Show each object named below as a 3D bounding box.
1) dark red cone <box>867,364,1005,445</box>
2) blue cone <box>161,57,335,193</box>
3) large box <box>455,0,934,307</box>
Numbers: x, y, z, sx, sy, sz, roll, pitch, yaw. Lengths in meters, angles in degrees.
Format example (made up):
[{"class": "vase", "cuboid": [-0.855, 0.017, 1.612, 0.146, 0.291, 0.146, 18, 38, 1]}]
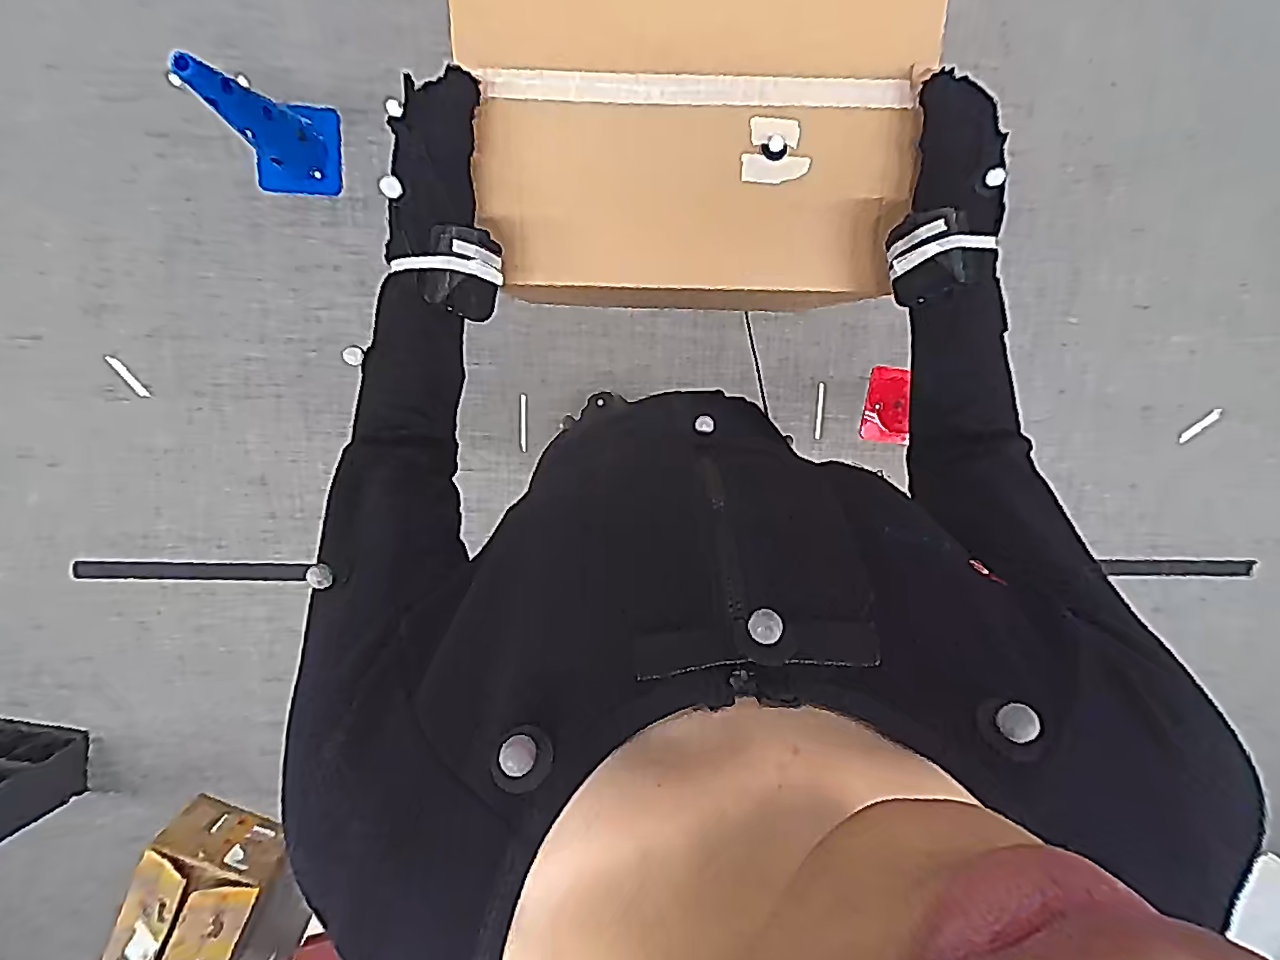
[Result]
[{"class": "dark red cone", "cuboid": [0.714, -0.170, 1.274, 0.201, 0.394, 0.202, 7, 99, -2]}, {"class": "blue cone", "cuboid": [-0.839, -0.775, 1.157, 0.192, 0.380, 0.193, 4, 99, -2]}, {"class": "large box", "cuboid": [0.040, -0.367, 0.605, 0.408, 0.320, 0.320, 1, 104, -2]}]
